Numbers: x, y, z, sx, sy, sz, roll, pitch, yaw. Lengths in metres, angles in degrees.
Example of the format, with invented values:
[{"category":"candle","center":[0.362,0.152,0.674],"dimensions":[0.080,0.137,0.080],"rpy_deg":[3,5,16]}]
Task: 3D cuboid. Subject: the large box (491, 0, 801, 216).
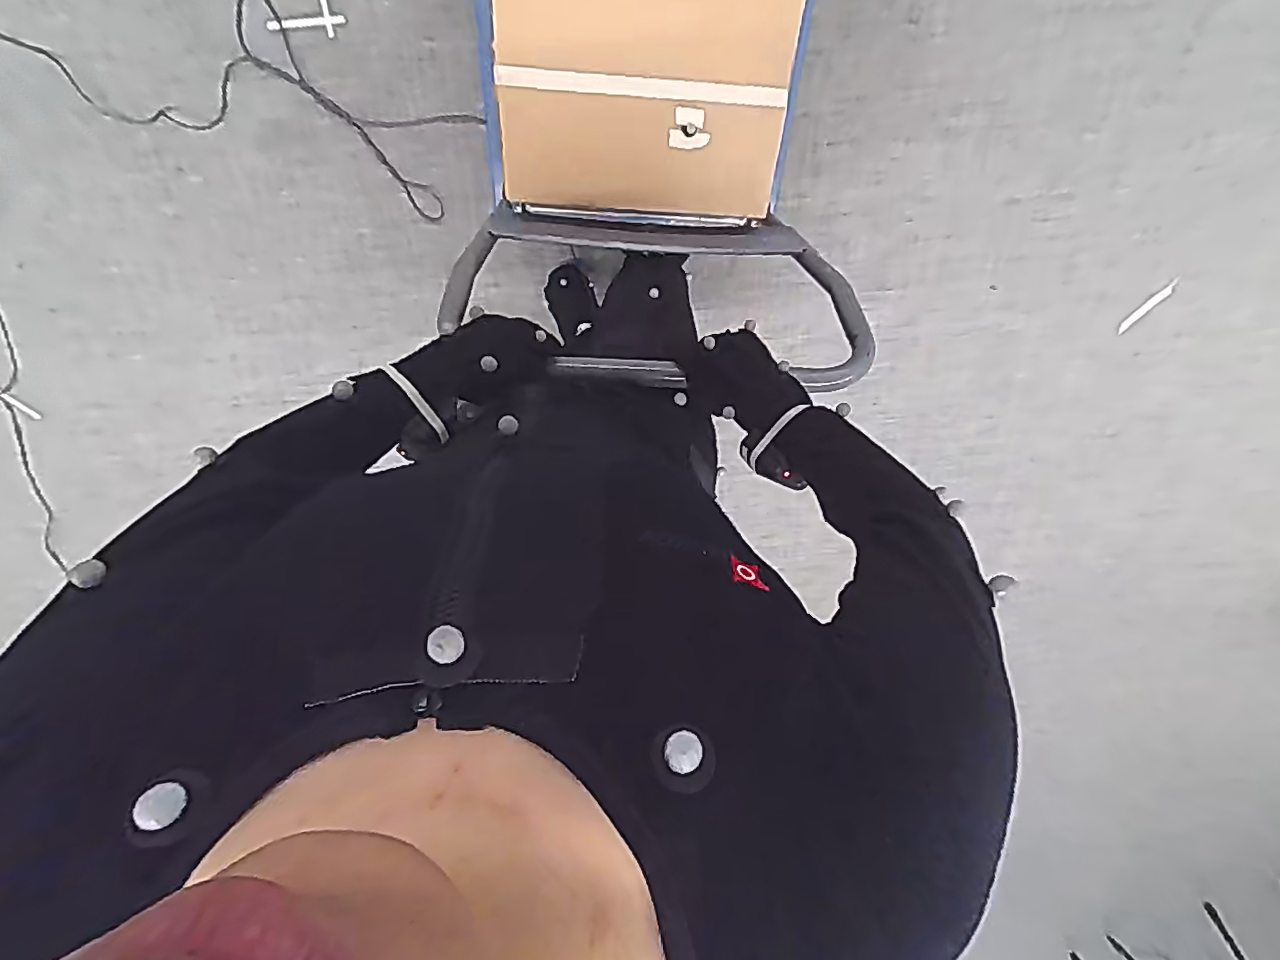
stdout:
[{"category":"large box","center":[-0.005,-0.626,0.865],"dimensions":[0.408,0.320,0.320],"rpy_deg":[1,126,-5]}]
